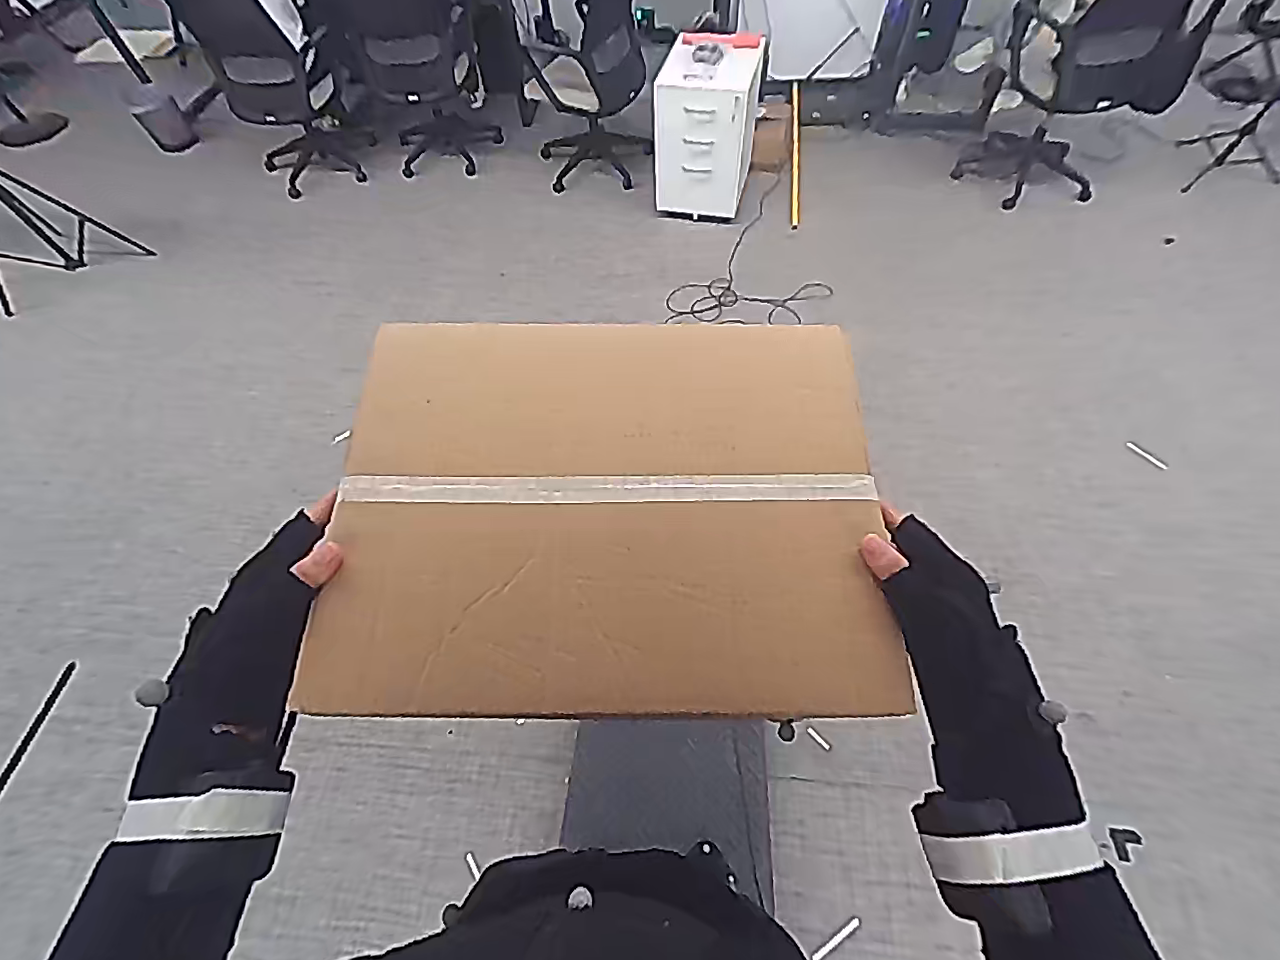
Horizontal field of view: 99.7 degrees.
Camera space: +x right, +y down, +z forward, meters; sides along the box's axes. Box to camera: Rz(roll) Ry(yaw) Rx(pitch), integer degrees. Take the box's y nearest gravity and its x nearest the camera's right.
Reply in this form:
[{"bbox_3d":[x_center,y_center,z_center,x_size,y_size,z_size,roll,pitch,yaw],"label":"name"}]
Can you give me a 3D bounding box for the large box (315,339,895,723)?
[{"bbox_3d":[-0.023,0.076,0.560,0.408,0.320,0.320,0,66,0],"label":"large box"}]
